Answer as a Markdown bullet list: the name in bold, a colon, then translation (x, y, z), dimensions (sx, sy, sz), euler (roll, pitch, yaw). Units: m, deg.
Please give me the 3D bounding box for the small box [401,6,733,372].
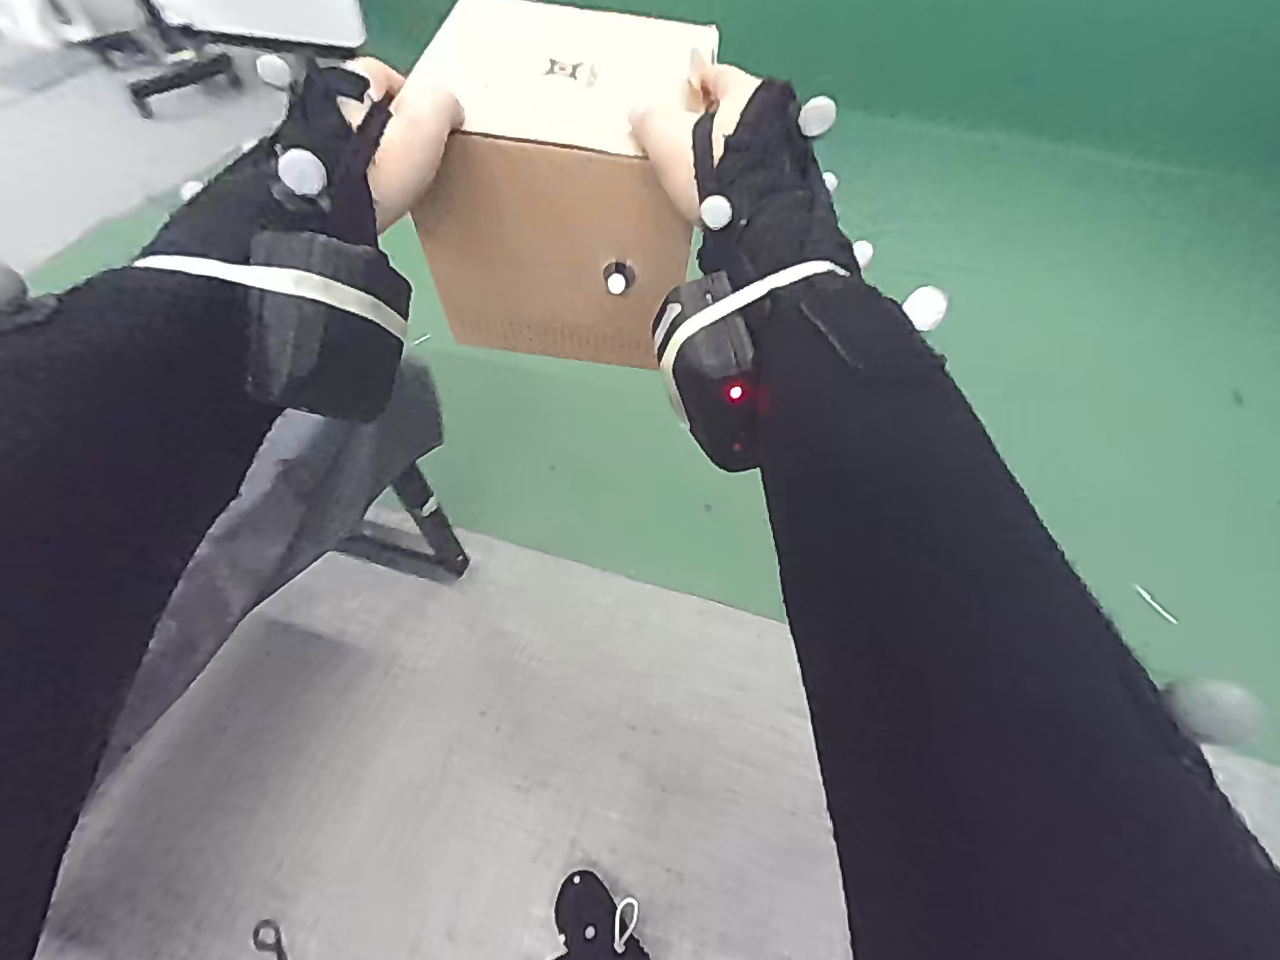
- **small box**: translation (-0.037, -0.200, 0.395), dimensions (0.179, 0.176, 0.168), euler (7, 59, 1)
